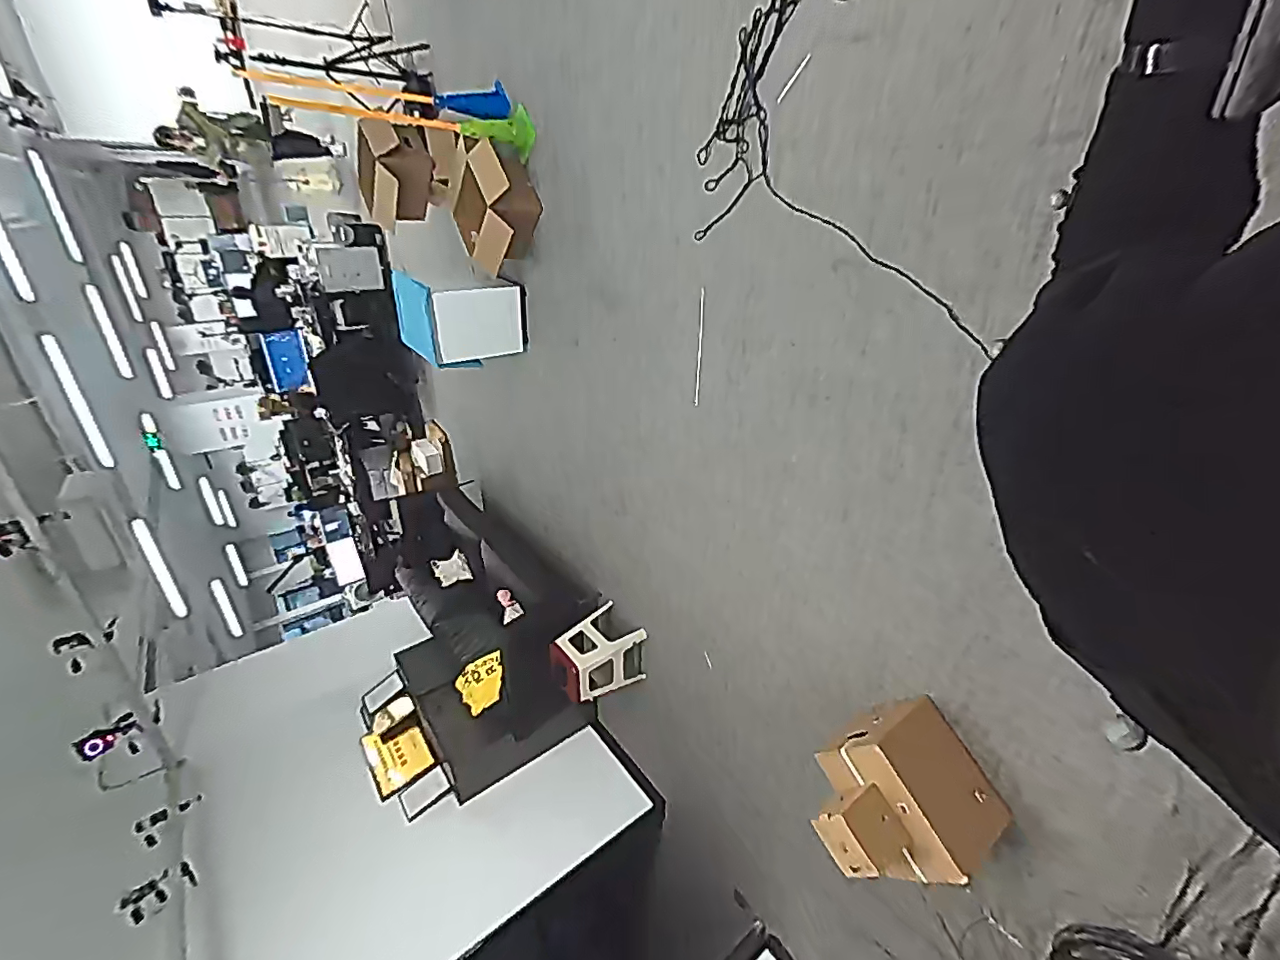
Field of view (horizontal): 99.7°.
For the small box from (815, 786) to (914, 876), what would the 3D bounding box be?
[{"bbox_3d":[0.676,1.053,1.631,0.179,0.176,0.168,57,146,22],"label":"small box"}]
